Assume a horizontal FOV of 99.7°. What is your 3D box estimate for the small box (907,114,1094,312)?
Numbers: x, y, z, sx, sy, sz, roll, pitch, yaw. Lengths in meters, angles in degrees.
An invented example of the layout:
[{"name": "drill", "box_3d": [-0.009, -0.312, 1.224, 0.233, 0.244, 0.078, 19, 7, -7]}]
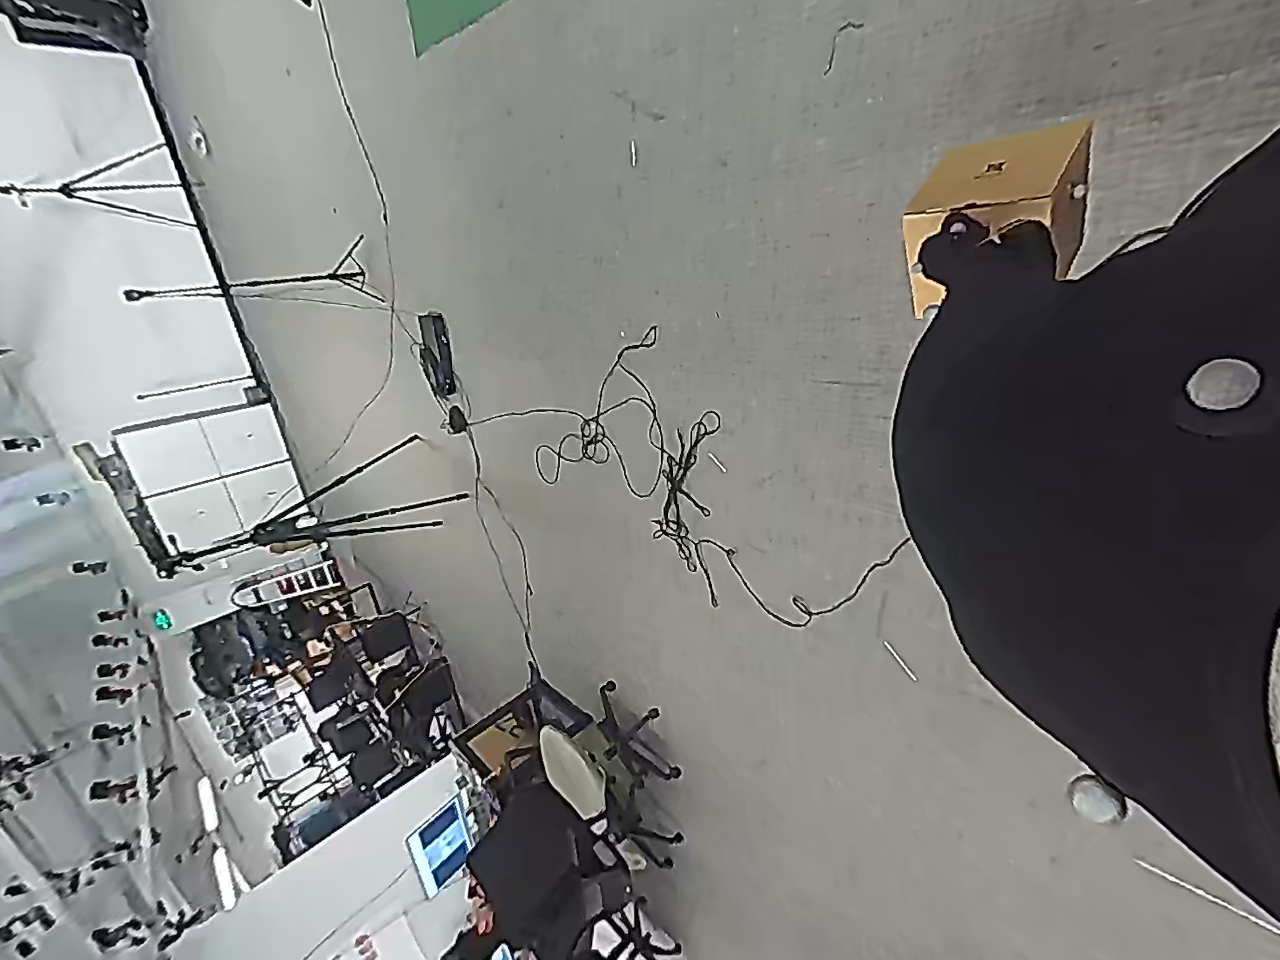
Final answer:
[{"name": "small box", "box_3d": [0.493, -0.355, 0.745, 0.168, 0.179, 0.176, 16, 152, 44]}]
